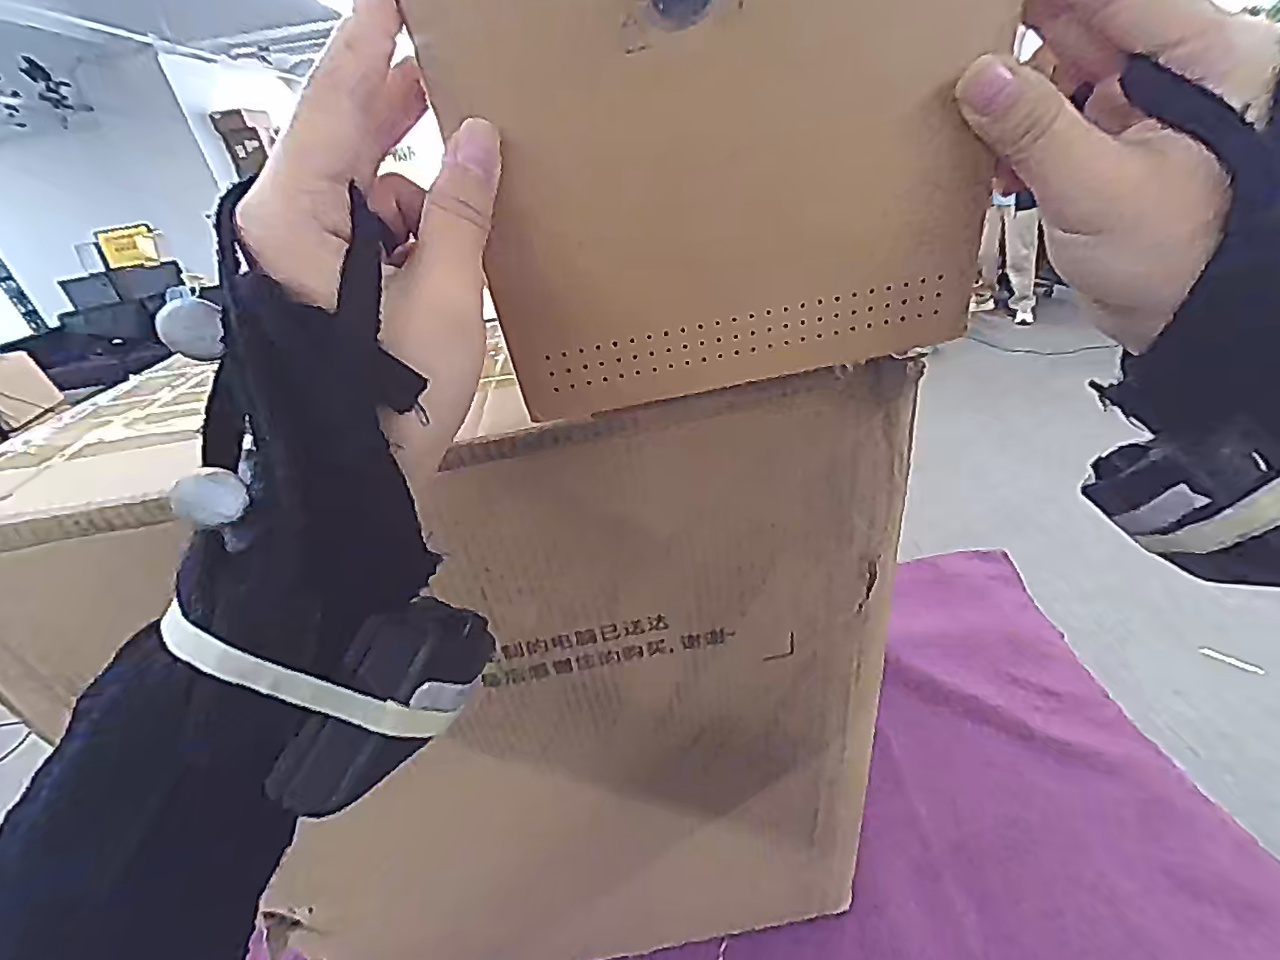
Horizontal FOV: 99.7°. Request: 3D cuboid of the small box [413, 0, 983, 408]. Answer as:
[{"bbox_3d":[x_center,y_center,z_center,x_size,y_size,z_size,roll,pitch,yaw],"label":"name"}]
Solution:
[{"bbox_3d":[0.022,-0.146,0.237,0.179,0.176,0.168,-11,33,0],"label":"small box"}]
